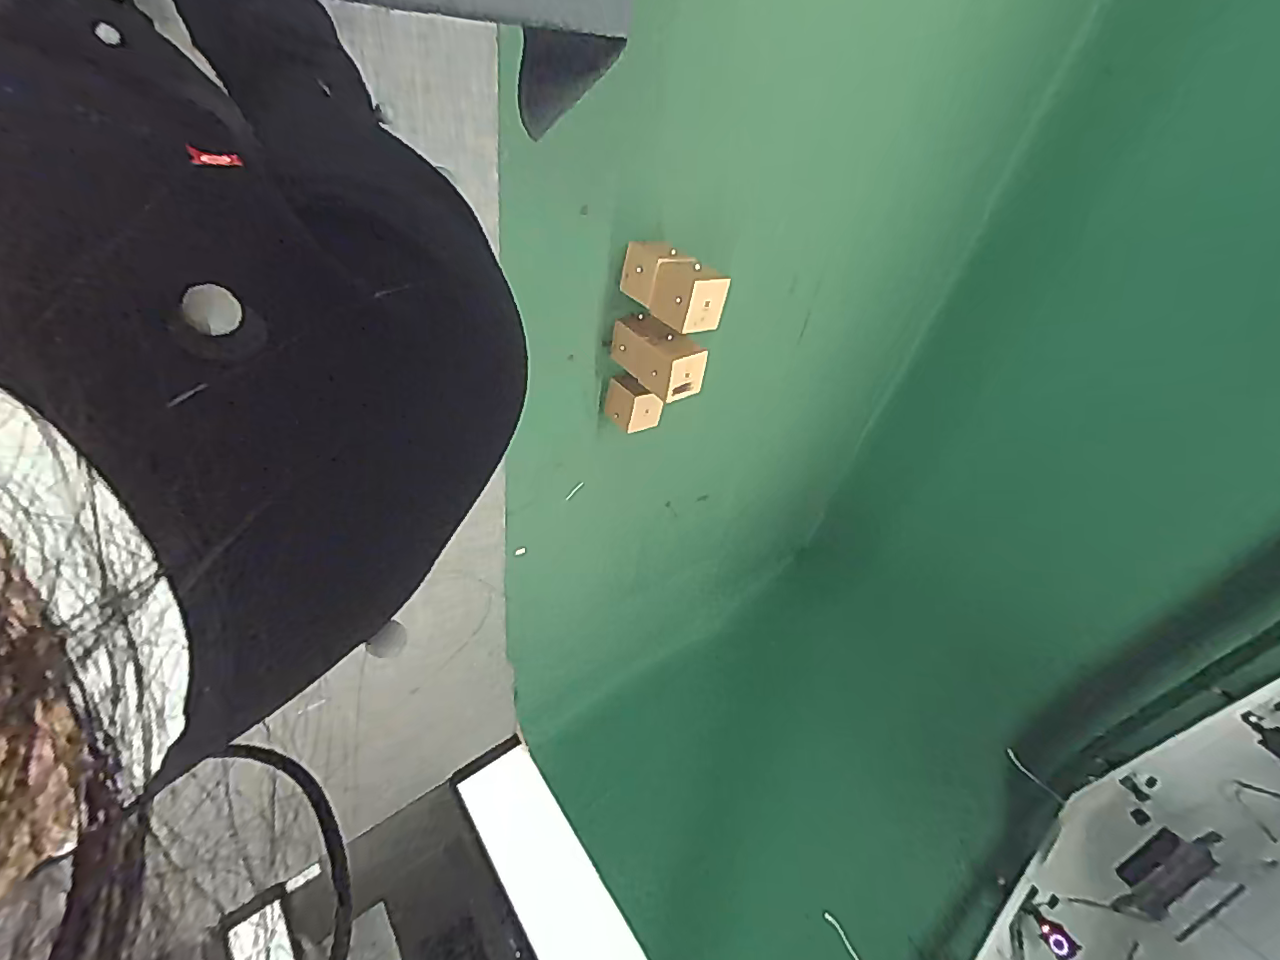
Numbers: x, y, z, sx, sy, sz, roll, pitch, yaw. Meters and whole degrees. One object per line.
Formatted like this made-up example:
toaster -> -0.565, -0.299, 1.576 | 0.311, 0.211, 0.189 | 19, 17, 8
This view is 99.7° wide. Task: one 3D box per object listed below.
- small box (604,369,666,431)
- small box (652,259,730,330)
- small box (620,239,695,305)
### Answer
small box -> -0.027, -0.327, 2.186 | 0.168, 0.176, 0.179 | -19, 138, -36
small box -> 0.160, -0.615, 1.775 | 0.168, 0.176, 0.179 | -18, 138, -36
small box -> 0.054, -0.715, 1.853 | 0.179, 0.176, 0.168 | -18, 138, -37
